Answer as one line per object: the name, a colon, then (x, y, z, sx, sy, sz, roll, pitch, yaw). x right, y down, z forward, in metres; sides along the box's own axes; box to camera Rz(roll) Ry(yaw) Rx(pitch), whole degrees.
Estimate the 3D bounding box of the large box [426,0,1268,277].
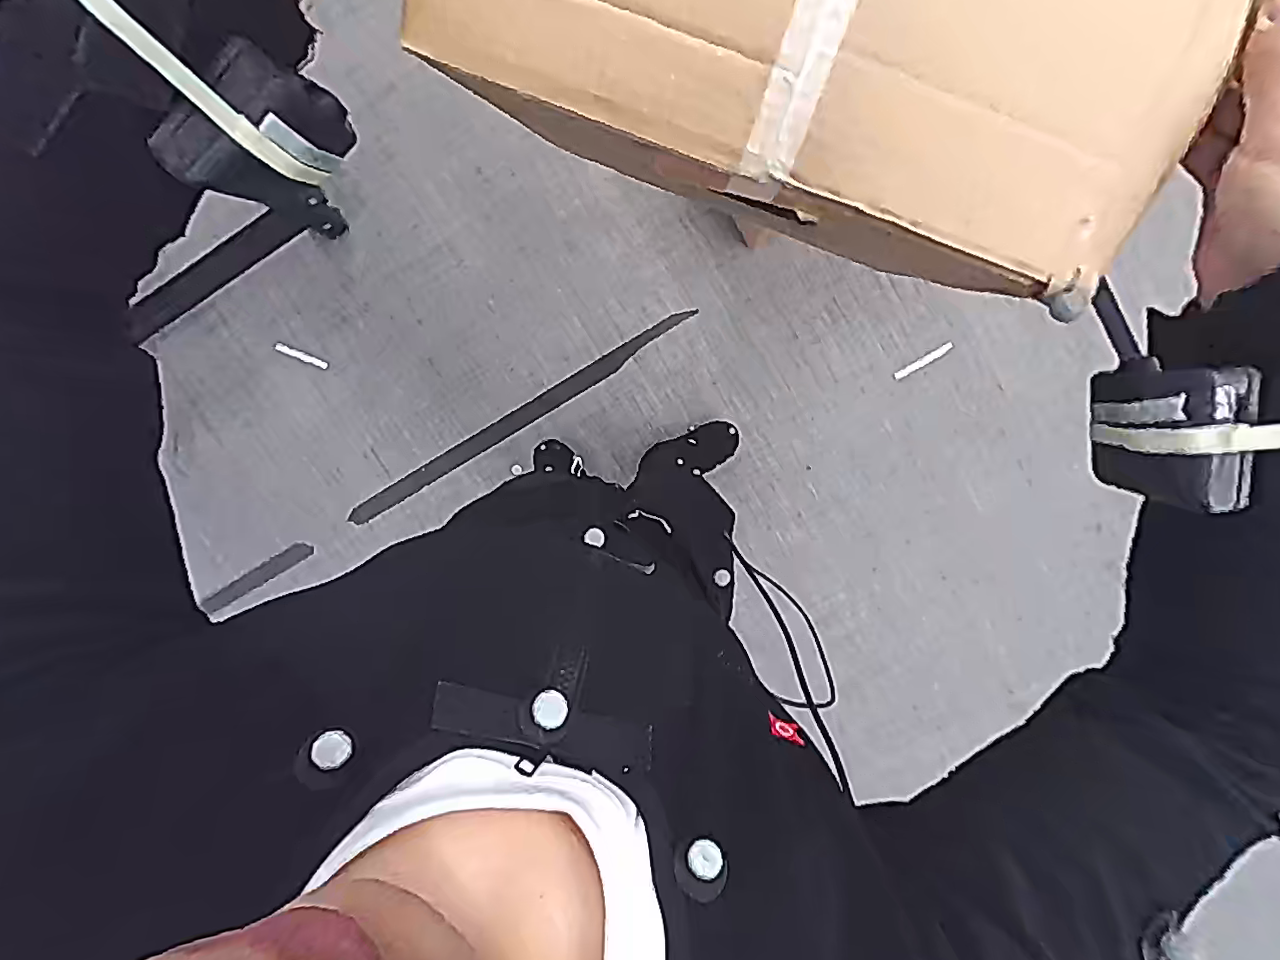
large box: (0.122, -0.367, 0.280, 0.320, 0.320, 0.408, 18, 115, -3)
